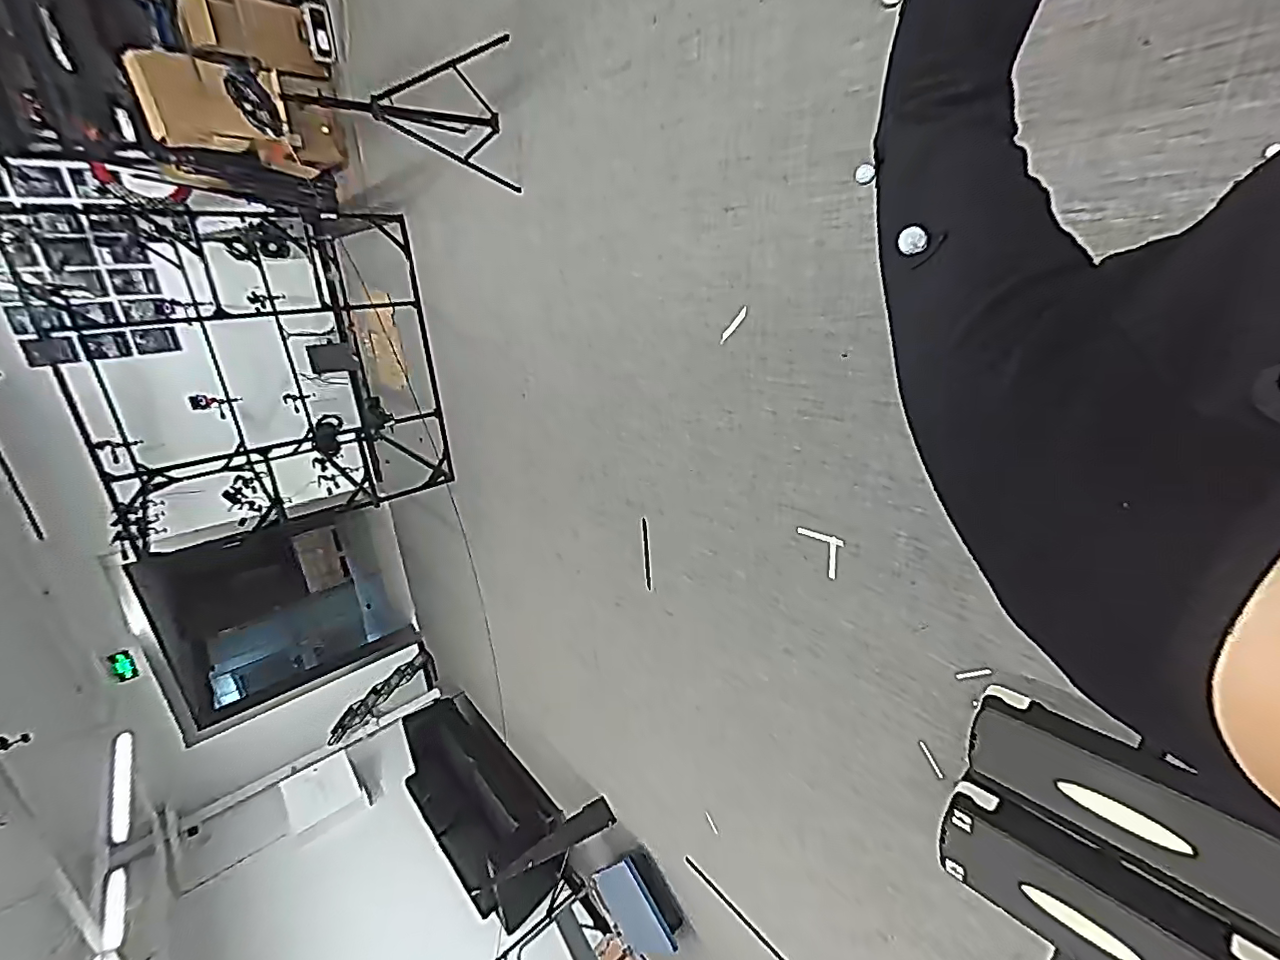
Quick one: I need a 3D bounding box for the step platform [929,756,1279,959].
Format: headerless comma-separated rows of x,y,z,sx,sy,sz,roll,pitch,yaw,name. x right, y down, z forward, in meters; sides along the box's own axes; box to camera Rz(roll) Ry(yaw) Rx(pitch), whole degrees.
1.144,1.065,1.423,0.684,0.204,0.286,19,120,48,step platform
